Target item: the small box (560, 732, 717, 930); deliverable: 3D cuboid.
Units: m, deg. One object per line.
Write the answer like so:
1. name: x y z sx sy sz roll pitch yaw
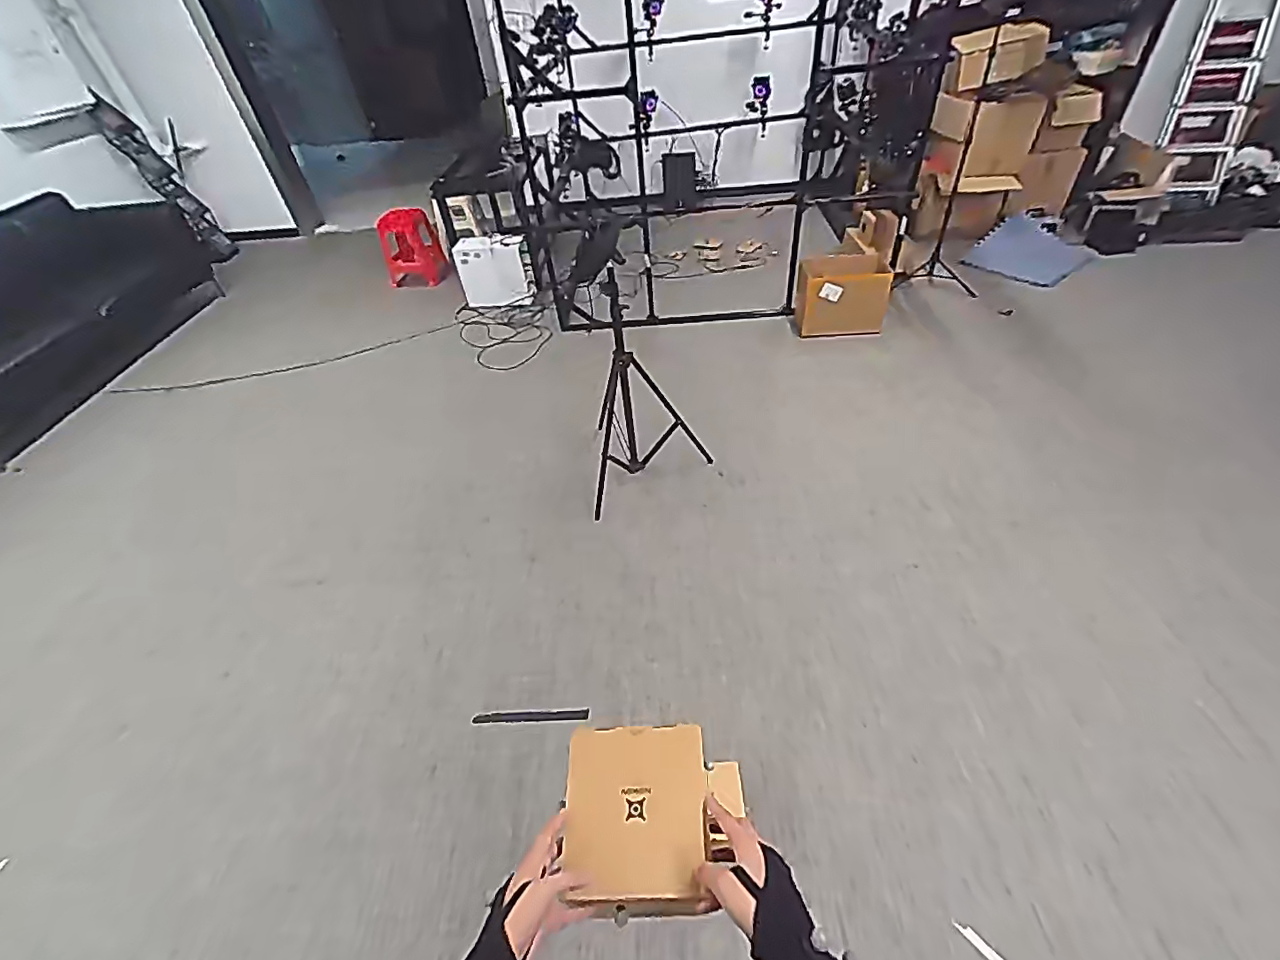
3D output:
1. small box: 0.003 0.431 0.660 0.168 0.176 0.179 -3 44 1

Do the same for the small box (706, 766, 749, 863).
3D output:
1. small box: 0.176 0.843 1.354 0.168 0.176 0.179 -4 42 2
